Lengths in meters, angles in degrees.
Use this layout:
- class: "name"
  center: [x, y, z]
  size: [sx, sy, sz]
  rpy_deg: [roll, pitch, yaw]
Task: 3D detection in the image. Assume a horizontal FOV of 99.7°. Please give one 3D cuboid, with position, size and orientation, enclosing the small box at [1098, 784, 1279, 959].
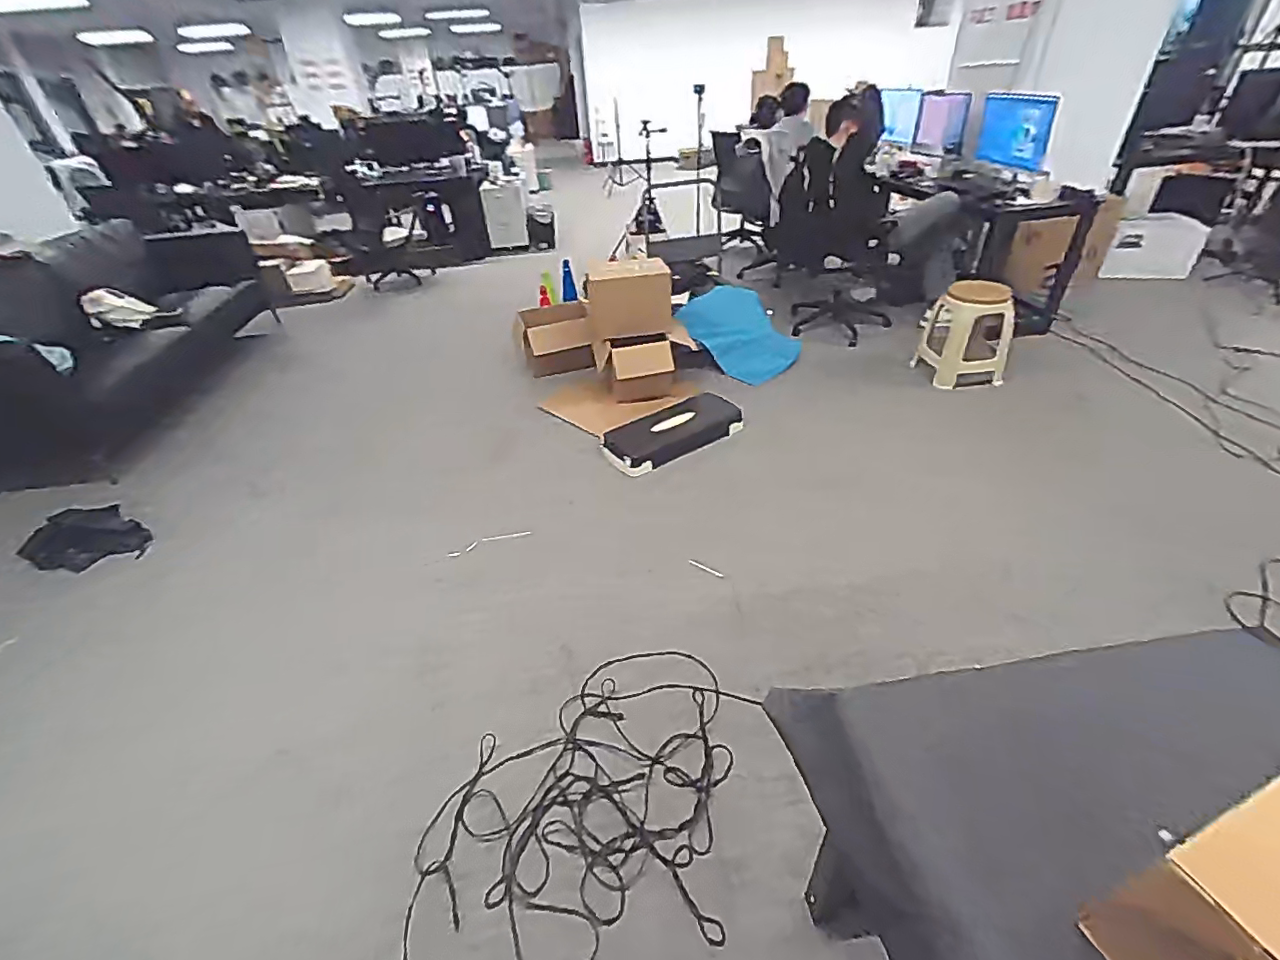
- class: "small box"
  center: [0.525, 0.376, 0.427]
  size: [0.179, 0.176, 0.168]
  rpy_deg: [-17, 38, -17]
